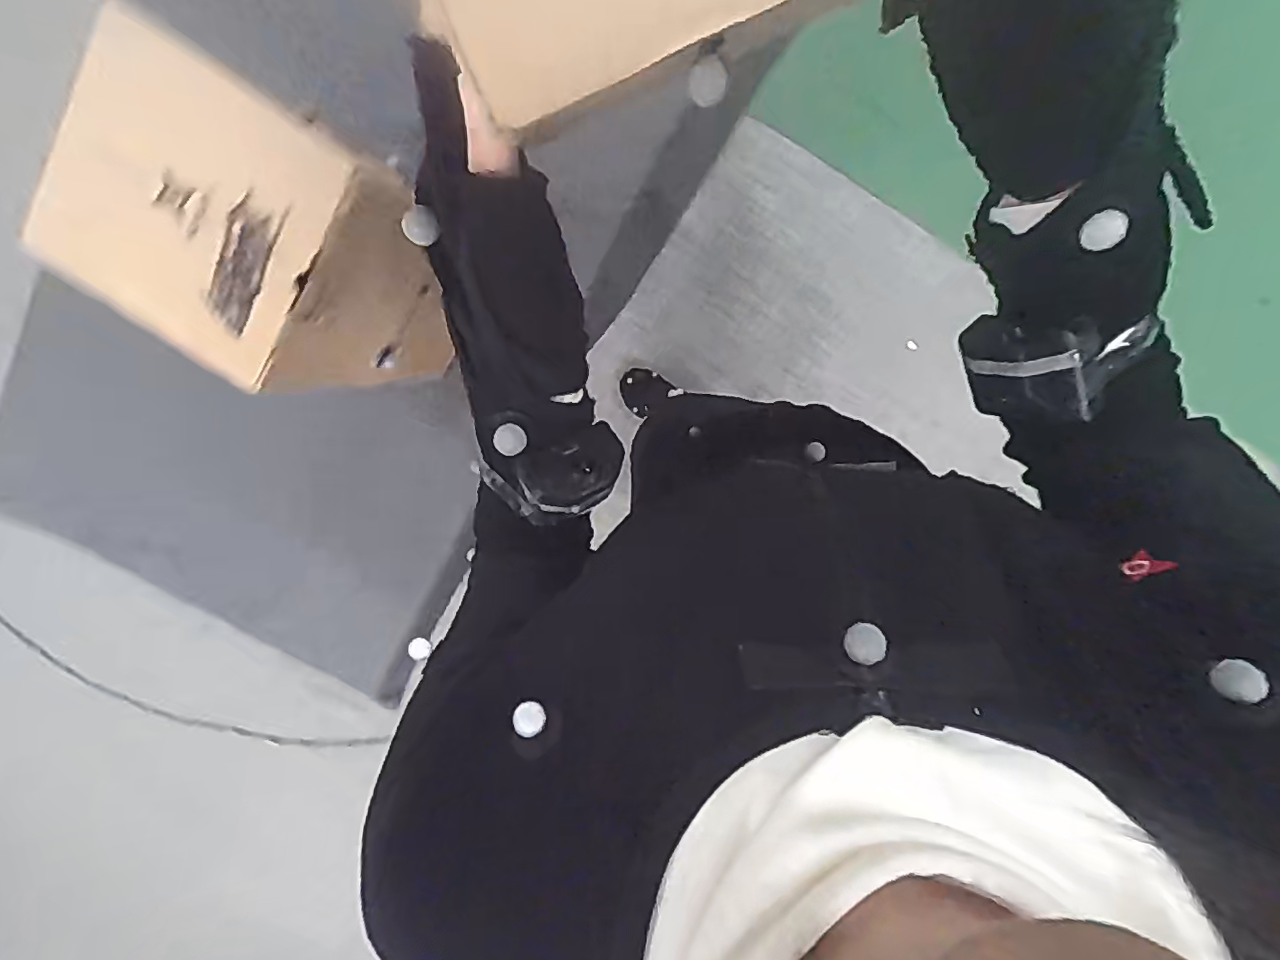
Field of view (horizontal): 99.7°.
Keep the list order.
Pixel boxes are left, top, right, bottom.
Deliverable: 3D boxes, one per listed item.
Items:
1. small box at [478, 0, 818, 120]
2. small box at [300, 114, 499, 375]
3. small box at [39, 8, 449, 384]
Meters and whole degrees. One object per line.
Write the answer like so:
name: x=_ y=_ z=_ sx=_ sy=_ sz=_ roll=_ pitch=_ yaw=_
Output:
small box: x=0.011 y=-0.234 z=0.157 sx=0.179 sy=0.176 sz=0.168 roll=-23 pitch=119 yaw=6
small box: x=-0.274 y=-0.234 z=0.585 sx=0.168 sy=0.176 sz=0.179 roll=33 pitch=104 yaw=-3
small box: x=-0.282 y=-0.194 z=0.426 sx=0.179 sy=0.176 sz=0.168 roll=30 pitch=103 yaw=-4
